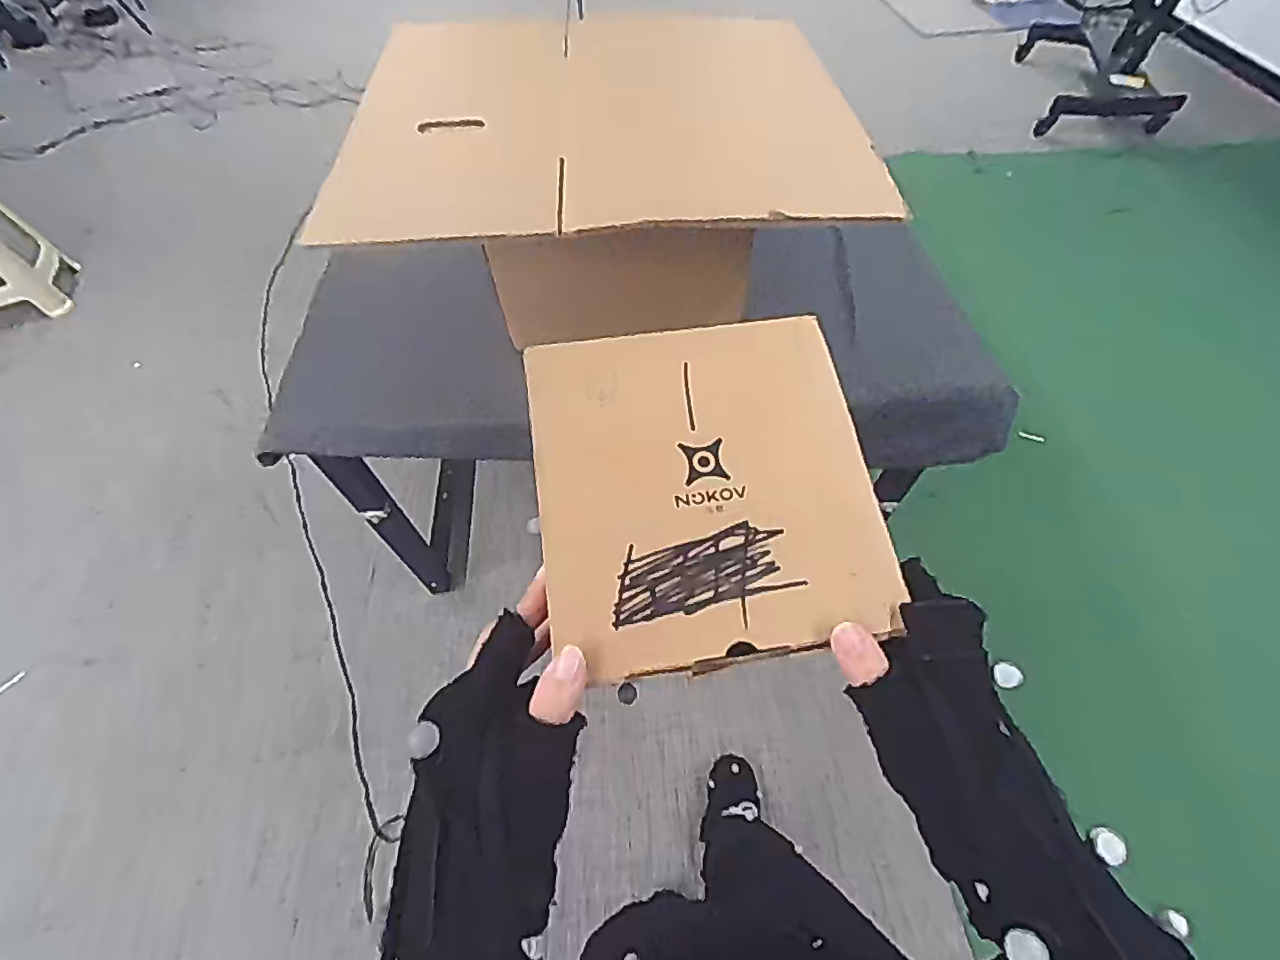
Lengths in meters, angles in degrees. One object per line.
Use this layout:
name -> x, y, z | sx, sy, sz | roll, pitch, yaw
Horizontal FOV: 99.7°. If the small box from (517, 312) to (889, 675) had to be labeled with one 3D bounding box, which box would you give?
small box -> 0.023, 0.022, 0.348 | 0.168, 0.176, 0.179 | -8, 70, -5
